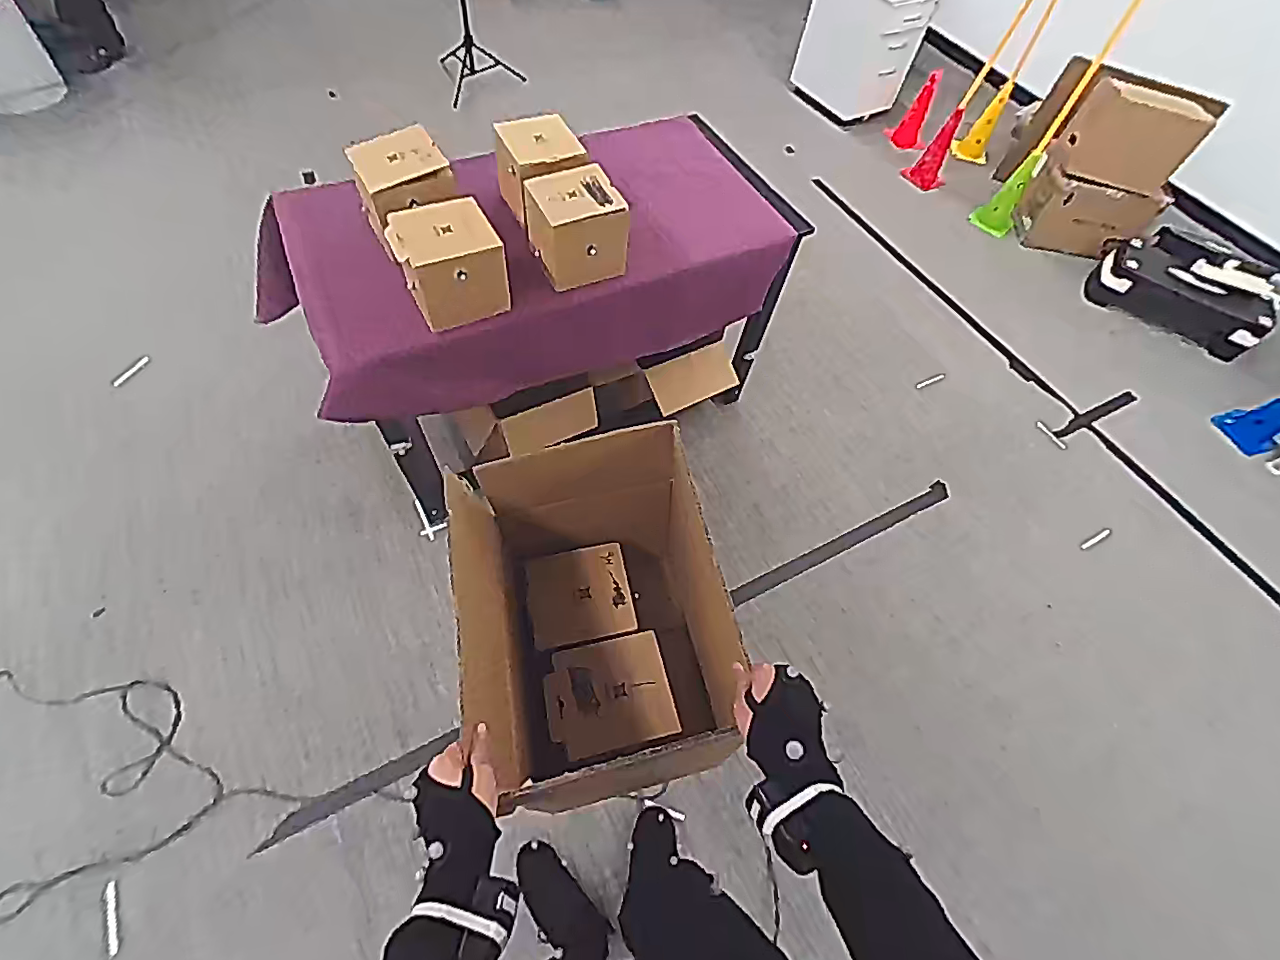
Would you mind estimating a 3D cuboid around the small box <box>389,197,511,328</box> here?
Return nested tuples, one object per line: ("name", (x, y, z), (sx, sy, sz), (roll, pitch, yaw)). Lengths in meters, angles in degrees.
("small box", (-0.380, -0.438, 1.104), (0.179, 0.176, 0.168), (-23, 66, -19))

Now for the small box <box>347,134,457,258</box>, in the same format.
("small box", (-0.508, -0.622, 1.194), (0.179, 0.176, 0.168), (-25, 67, -20))
